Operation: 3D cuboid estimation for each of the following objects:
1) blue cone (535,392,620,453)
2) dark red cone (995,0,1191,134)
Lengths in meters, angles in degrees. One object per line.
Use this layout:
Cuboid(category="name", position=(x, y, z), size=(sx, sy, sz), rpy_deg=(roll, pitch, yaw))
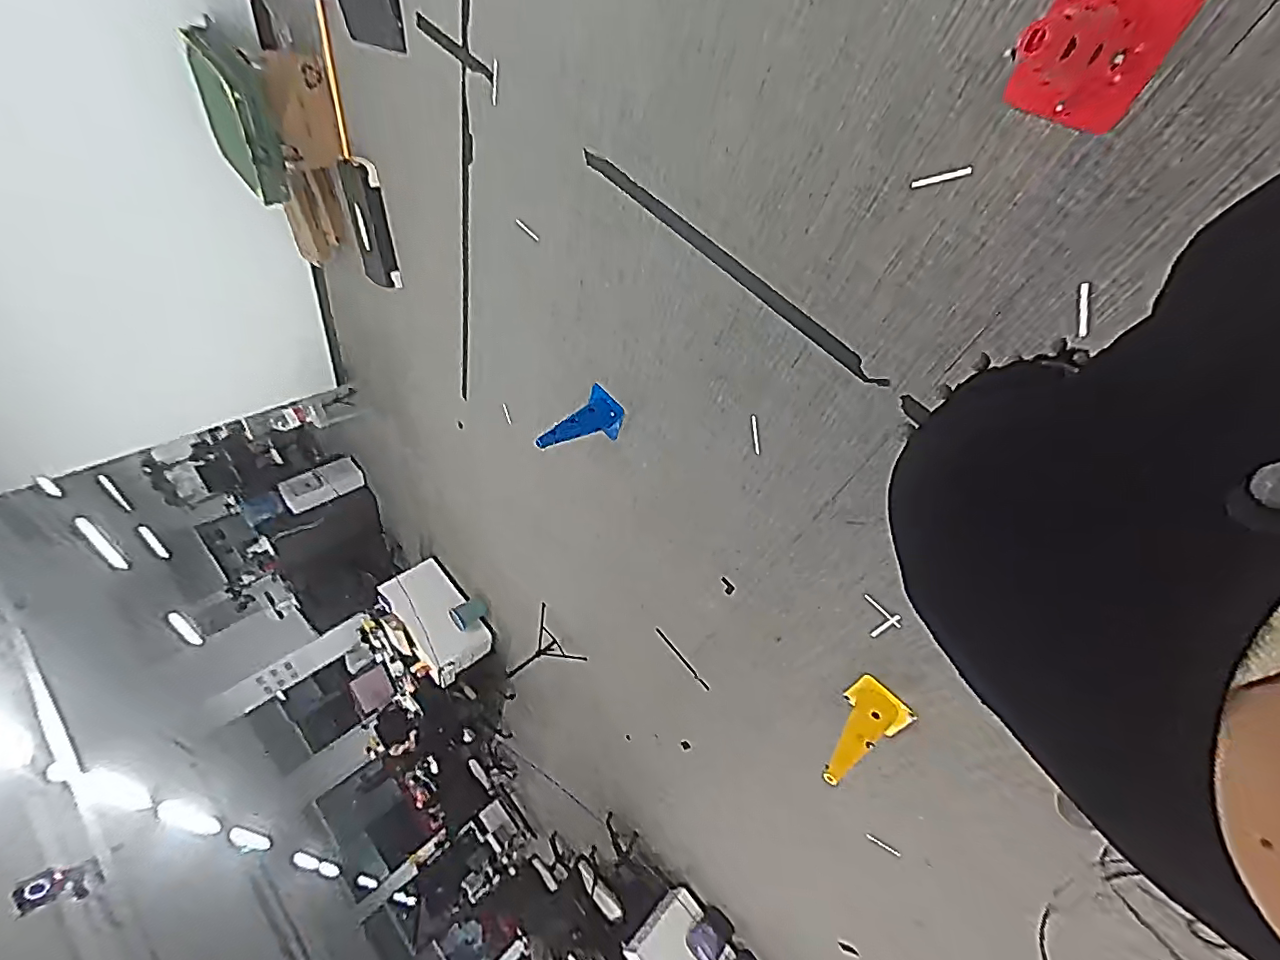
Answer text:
Cuboid(category="blue cone", position=(-0.273, -0.206, 2.253), size=(0.193, 0.380, 0.192), rpy_deg=(46, 144, 18))
Cuboid(category="dark red cone", position=(0.619, -0.637, 0.798), size=(0.202, 0.394, 0.201), rpy_deg=(41, 142, 24))
